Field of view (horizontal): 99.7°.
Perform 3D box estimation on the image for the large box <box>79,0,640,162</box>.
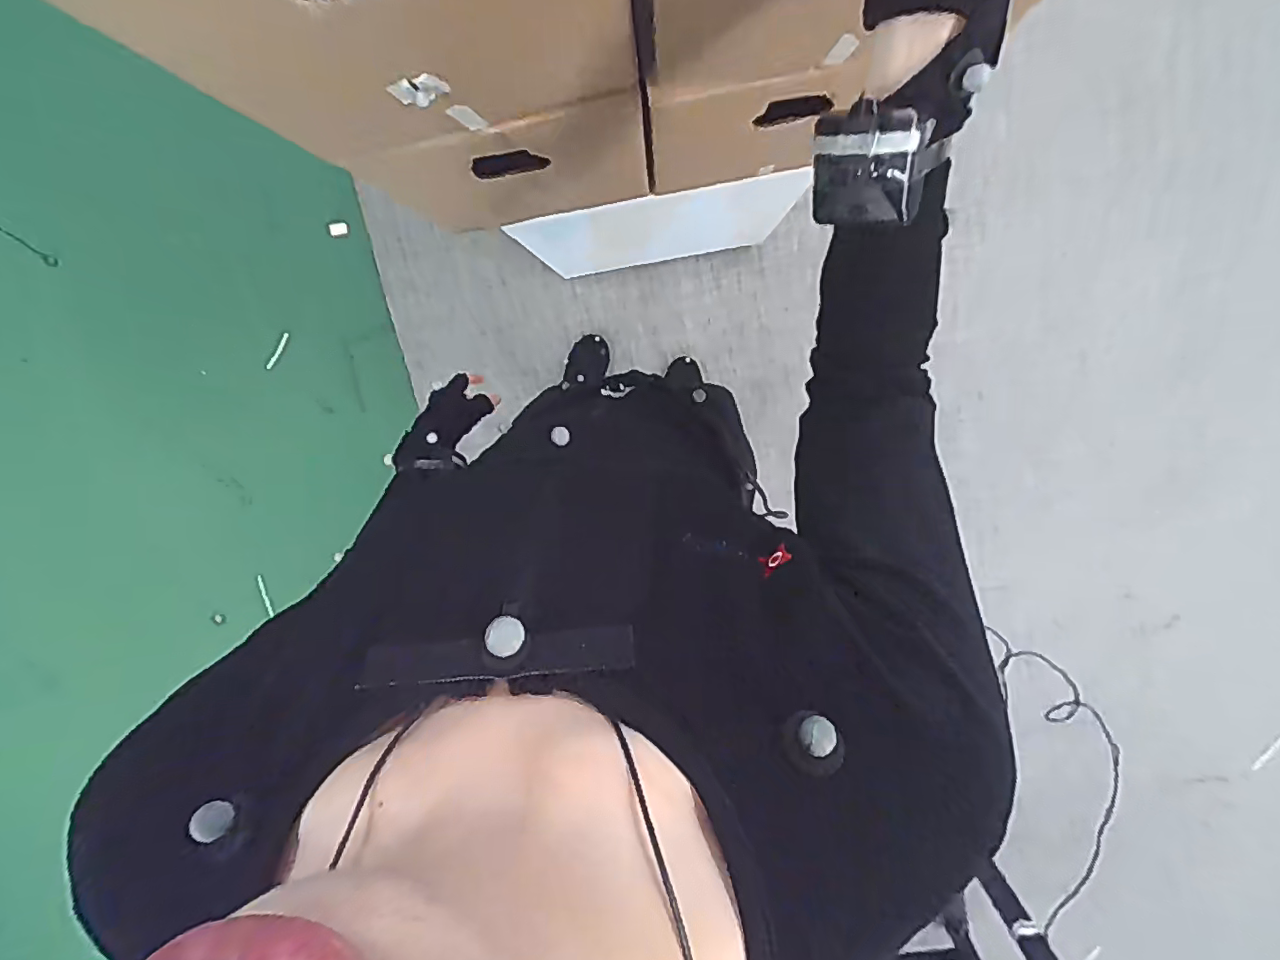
[{"bbox_3d":[-0.200,-0.498,0.333,0.320,0.320,0.408,-11,100,6],"label":"large box"}]
